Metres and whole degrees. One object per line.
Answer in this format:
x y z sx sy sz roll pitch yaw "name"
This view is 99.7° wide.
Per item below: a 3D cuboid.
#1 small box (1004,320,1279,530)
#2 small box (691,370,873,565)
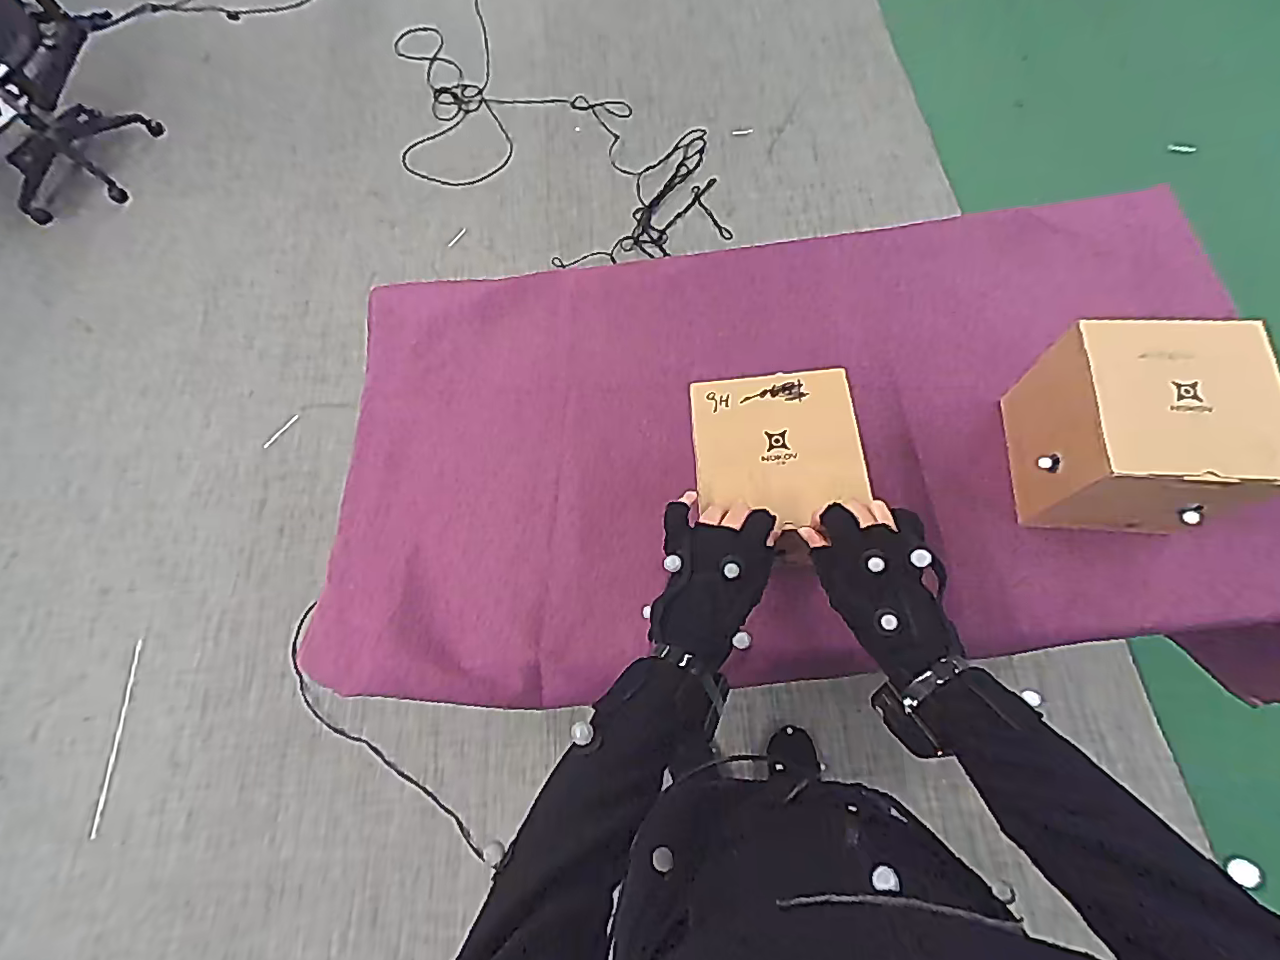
0.531 -0.051 0.588 0.168 0.176 0.179 3 69 9 "small box"
0.149 -0.002 0.622 0.168 0.176 0.179 -5 69 6 "small box"
